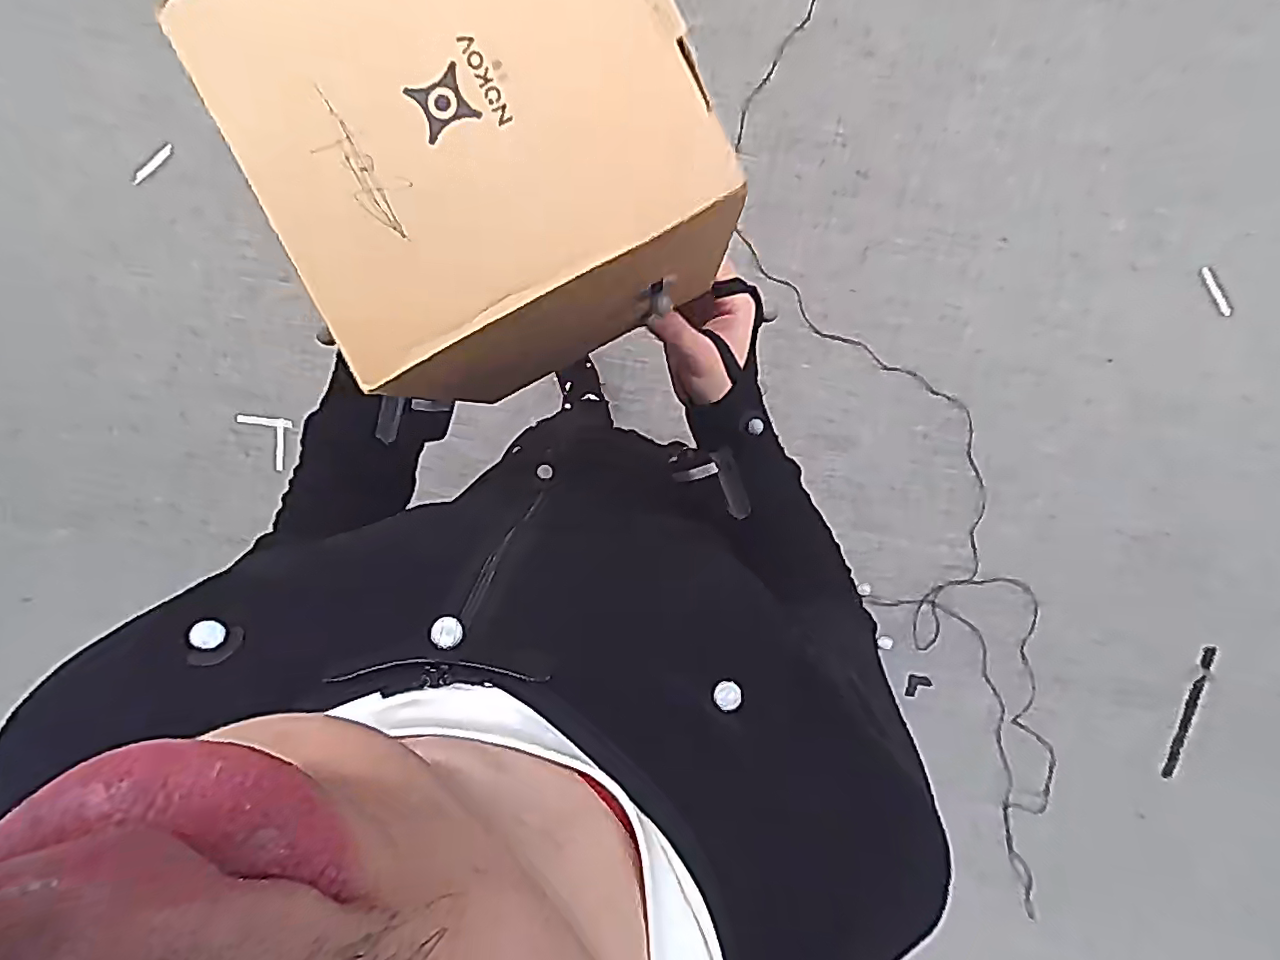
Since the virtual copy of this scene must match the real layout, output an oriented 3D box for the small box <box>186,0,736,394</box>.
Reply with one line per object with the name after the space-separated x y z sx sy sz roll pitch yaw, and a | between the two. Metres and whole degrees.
-0.070 -0.161 0.299 0.179 0.176 0.168 -27 94 5 | small box
